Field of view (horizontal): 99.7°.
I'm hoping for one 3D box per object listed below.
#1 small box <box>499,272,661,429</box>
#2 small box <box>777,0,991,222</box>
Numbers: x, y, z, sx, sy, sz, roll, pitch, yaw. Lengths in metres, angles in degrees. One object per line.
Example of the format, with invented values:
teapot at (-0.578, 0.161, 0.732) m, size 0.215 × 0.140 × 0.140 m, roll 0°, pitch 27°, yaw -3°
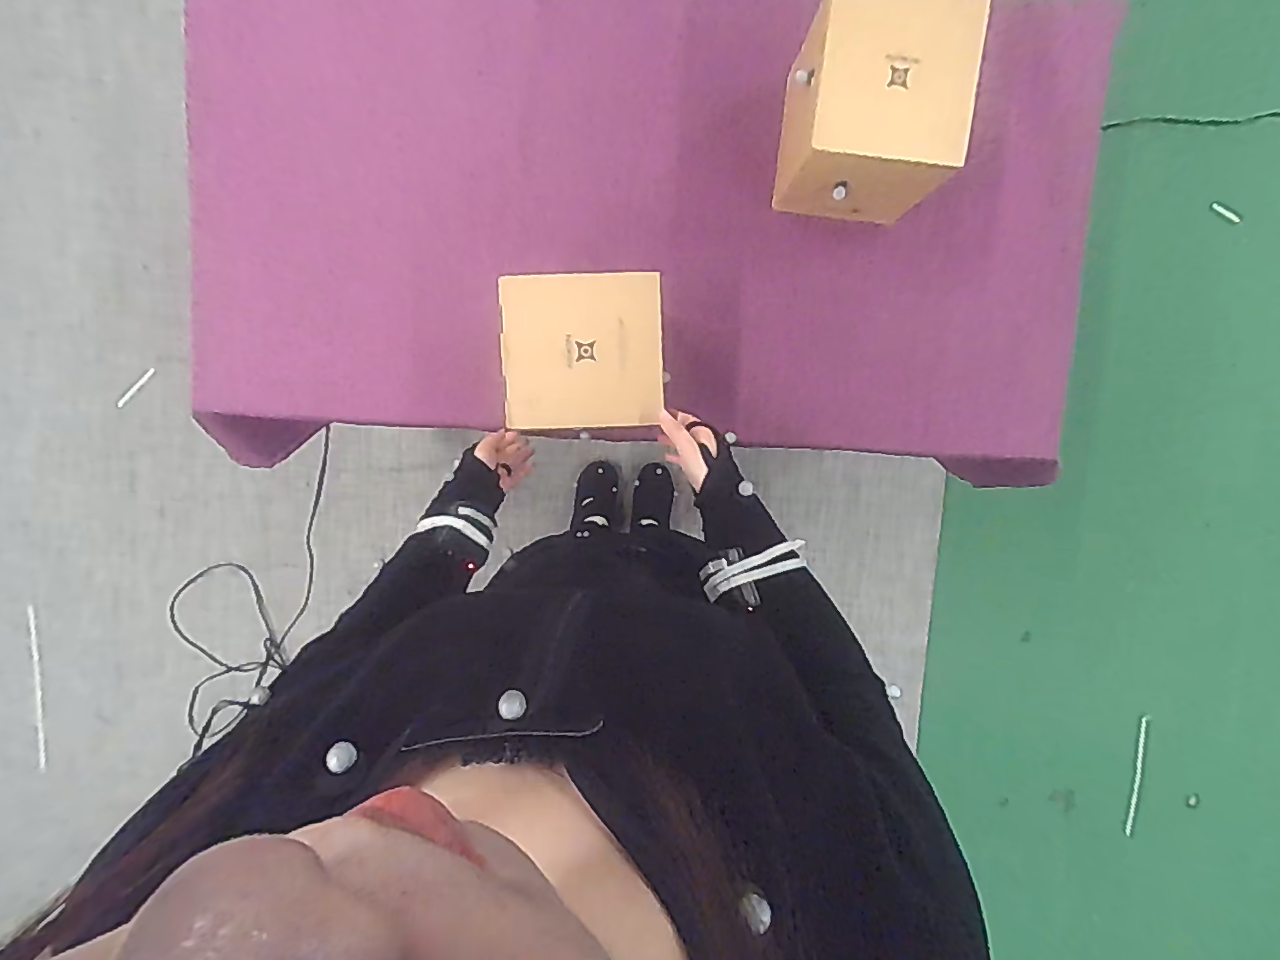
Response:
small box at (-0.064, -0.147, 0.664) m, size 0.179 × 0.176 × 0.168 m, roll -1°, pitch 95°, yaw -1°
small box at (0.269, -0.429, 0.640) m, size 0.168 × 0.176 × 0.179 m, roll 7°, pitch 95°, yaw 0°
